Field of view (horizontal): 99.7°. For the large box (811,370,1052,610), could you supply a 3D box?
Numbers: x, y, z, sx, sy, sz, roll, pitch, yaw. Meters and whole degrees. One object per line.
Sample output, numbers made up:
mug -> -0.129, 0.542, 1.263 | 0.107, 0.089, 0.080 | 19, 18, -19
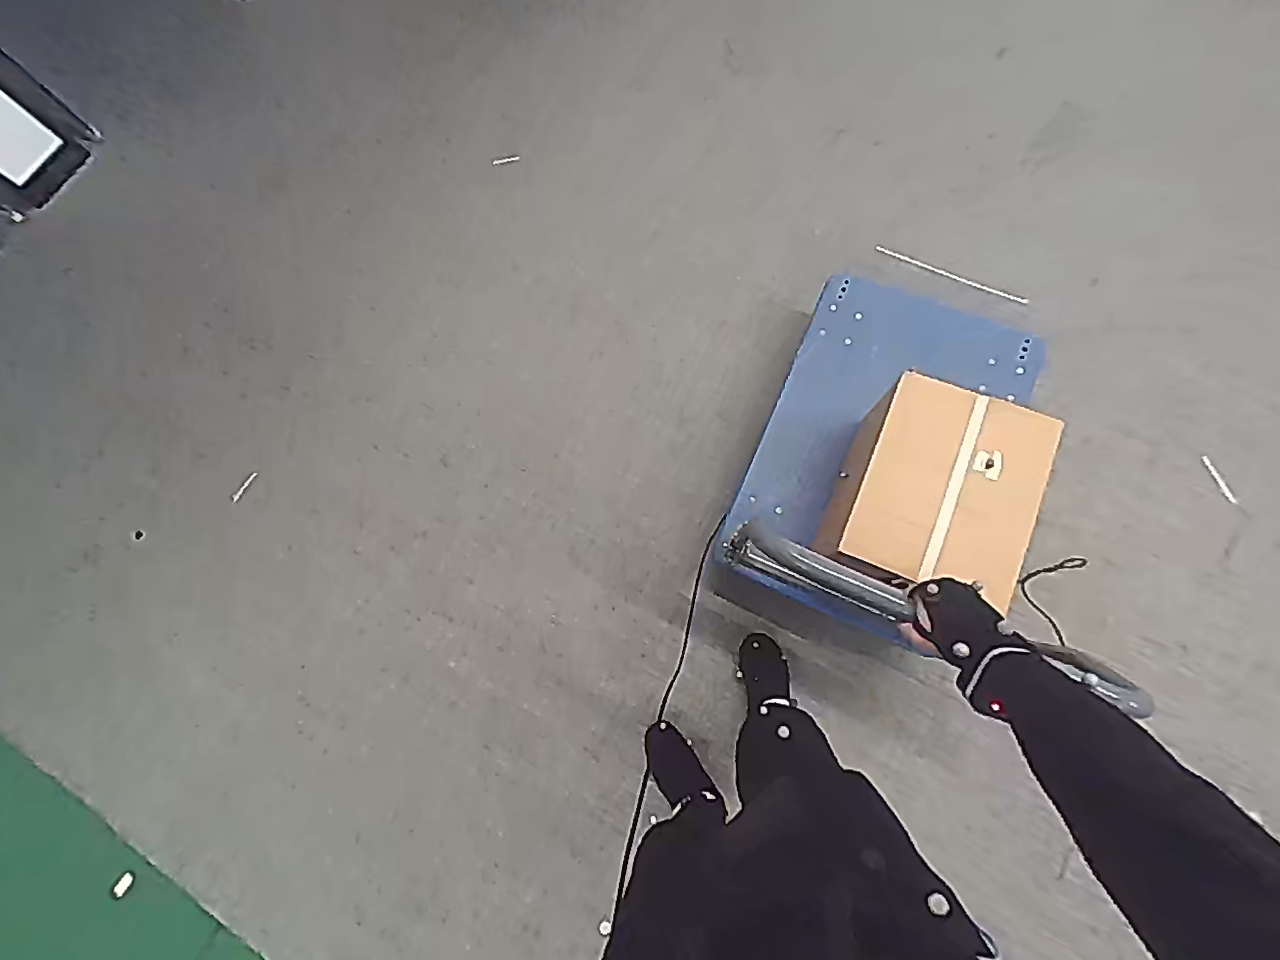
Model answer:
large box -> 0.611, 0.040, 1.192 | 0.320, 0.320, 0.408 | 22, 79, 10
